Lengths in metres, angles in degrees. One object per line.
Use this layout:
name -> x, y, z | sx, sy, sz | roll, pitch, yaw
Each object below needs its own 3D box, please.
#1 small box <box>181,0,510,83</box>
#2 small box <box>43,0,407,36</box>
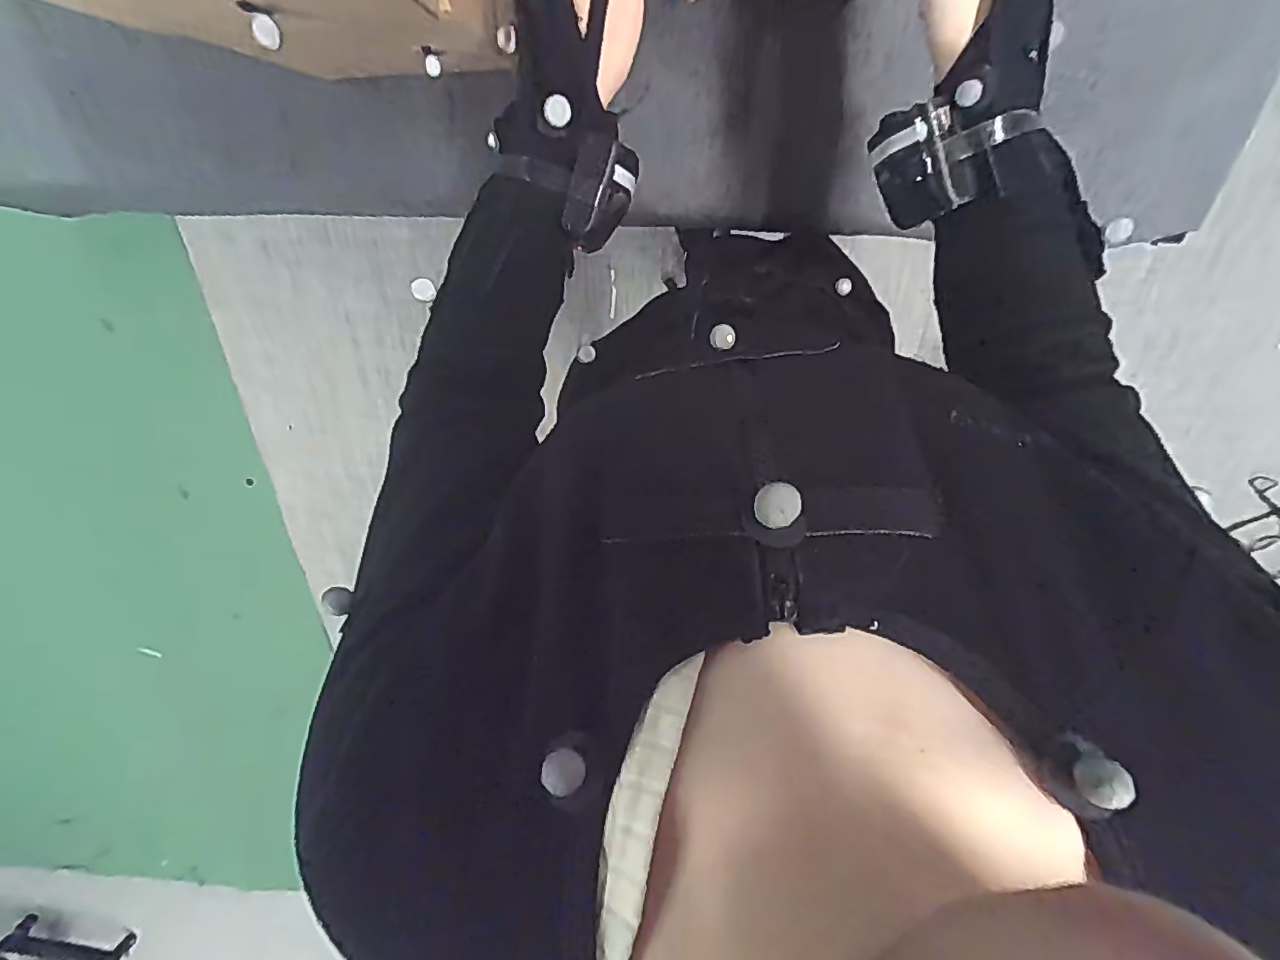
small box -> -0.195, -0.380, 0.358 | 0.179, 0.176, 0.168 | -1, 118, 4
small box -> -0.209, -0.301, 0.214 | 0.179, 0.176, 0.168 | 0, 118, 4
